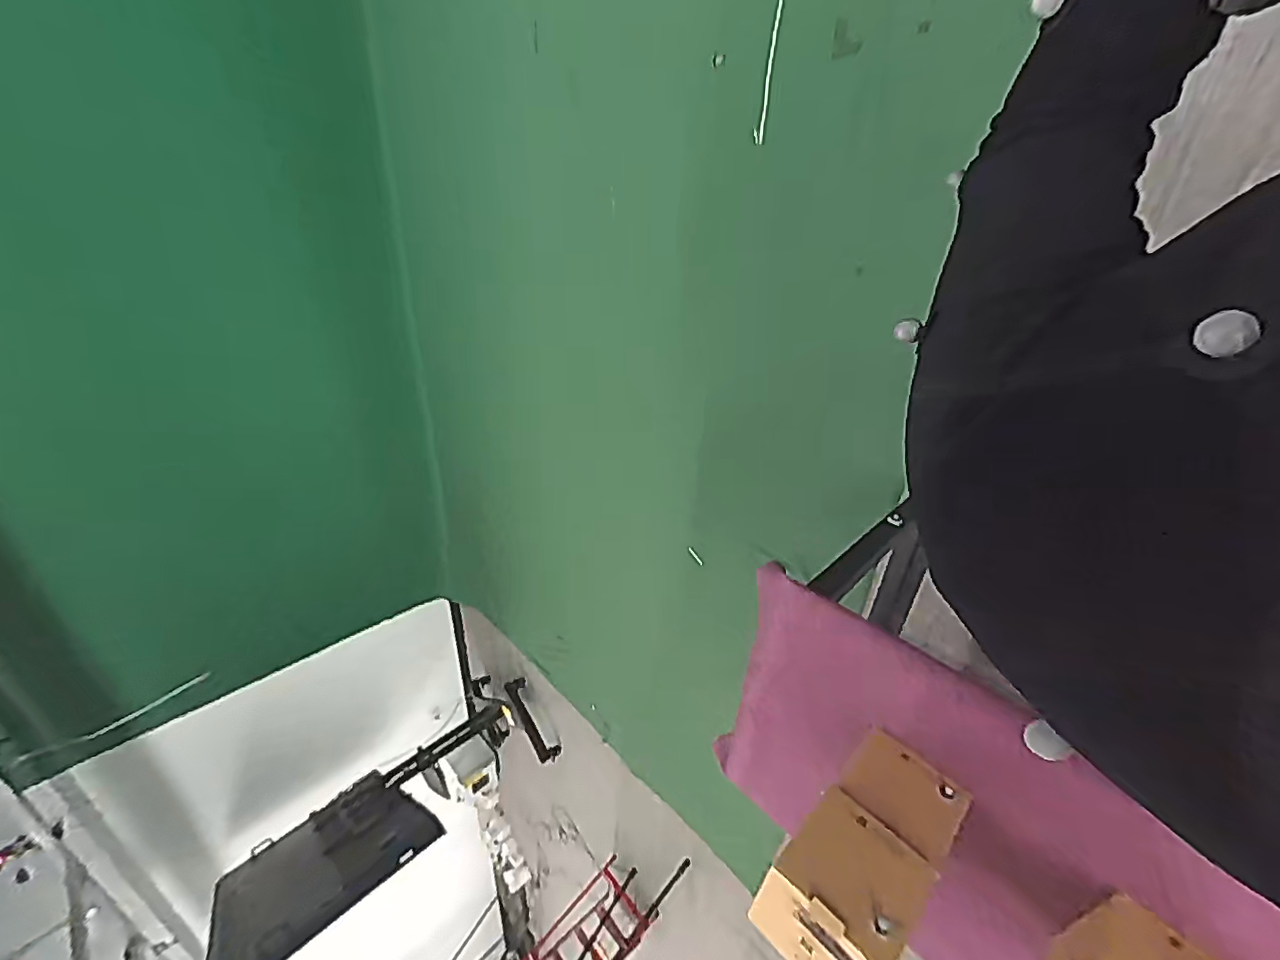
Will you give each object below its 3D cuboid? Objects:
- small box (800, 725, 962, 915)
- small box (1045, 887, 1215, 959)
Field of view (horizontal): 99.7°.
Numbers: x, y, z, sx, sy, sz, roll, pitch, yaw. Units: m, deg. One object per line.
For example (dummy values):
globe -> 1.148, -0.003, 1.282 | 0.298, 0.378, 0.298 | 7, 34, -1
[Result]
small box -> 0.401, 0.552, 0.898 | 0.168, 0.176, 0.179 | 35, 132, 34
small box -> 0.644, 0.683, 0.695 | 0.168, 0.176, 0.179 | 33, 130, 34
